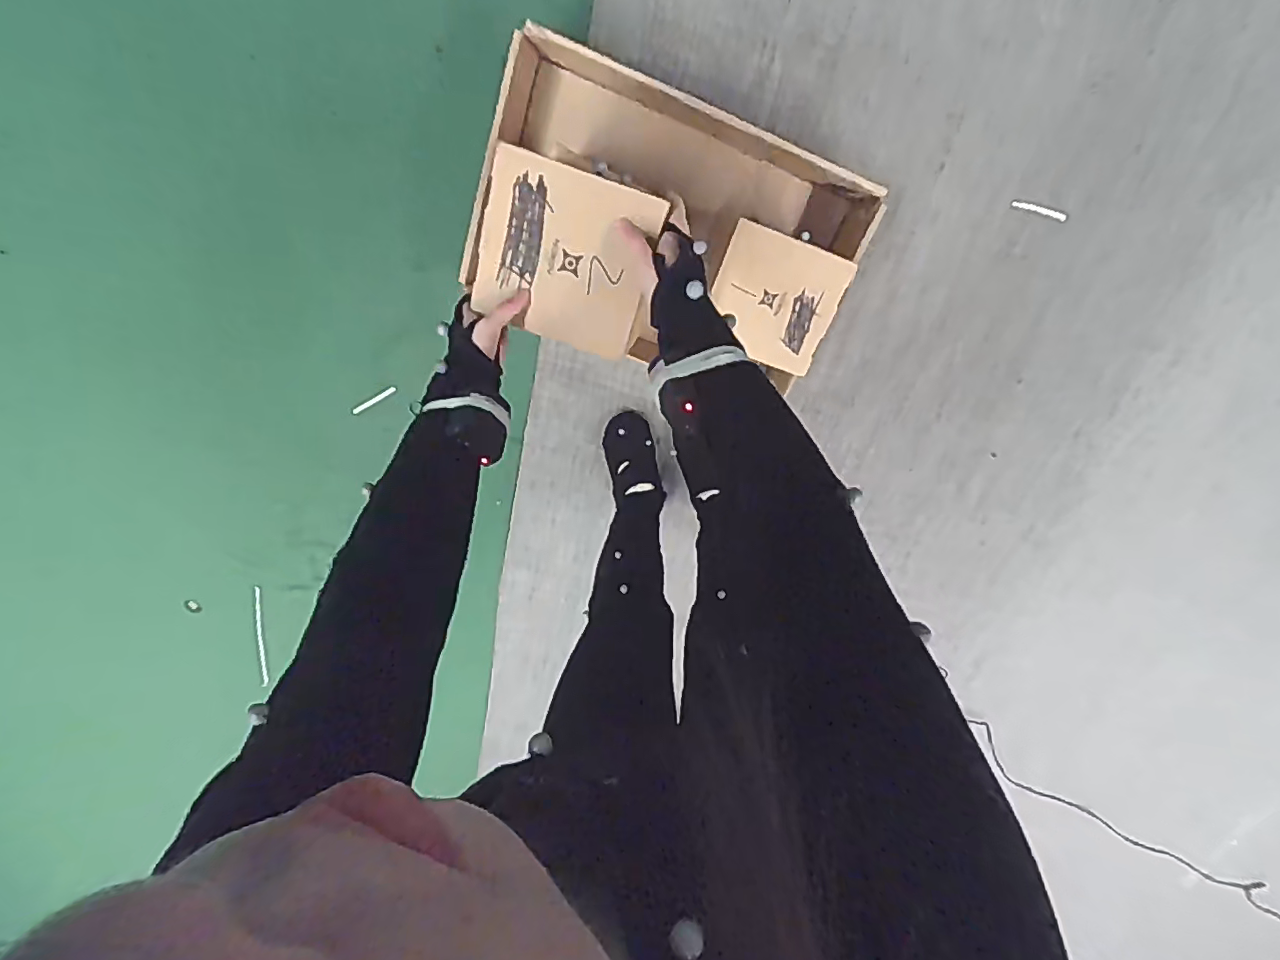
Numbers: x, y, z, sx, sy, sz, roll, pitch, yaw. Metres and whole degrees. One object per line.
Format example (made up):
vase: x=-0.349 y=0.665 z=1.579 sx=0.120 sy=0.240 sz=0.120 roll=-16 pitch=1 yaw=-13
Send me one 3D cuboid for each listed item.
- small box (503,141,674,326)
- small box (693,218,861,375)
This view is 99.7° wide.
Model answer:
small box: x=-0.071 y=-0.353 z=0.788 sx=0.179 sy=0.176 sz=0.168 roll=28 pitch=114 yaw=-14
small box: x=0.190 y=-0.281 z=0.810 sx=0.179 sy=0.176 sz=0.168 roll=19 pitch=116 yaw=-6
